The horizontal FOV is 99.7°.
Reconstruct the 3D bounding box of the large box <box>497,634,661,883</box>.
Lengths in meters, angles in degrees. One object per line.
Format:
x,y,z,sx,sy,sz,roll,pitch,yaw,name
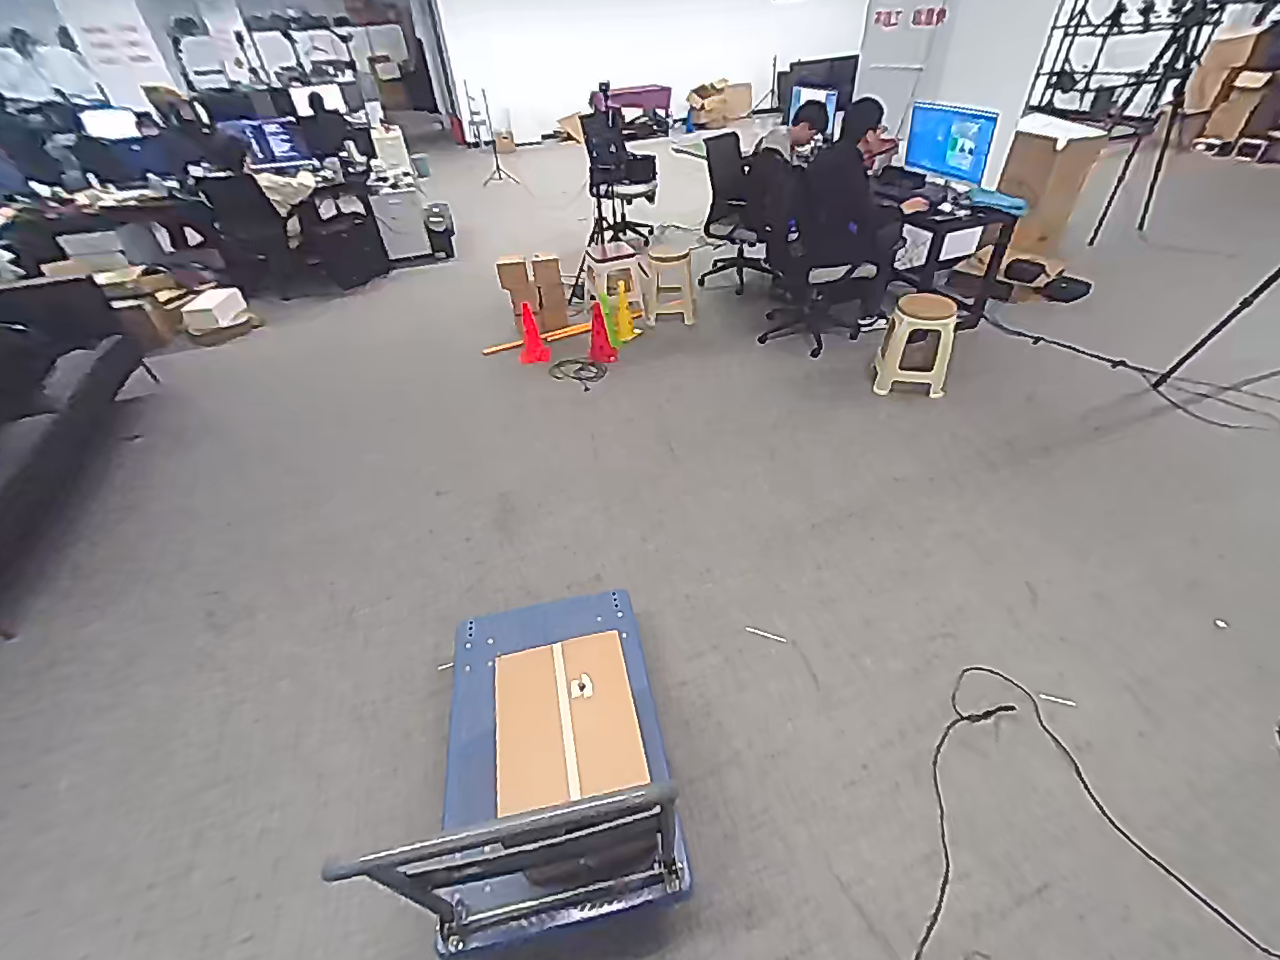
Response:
-0.151,0.654,1.298,0.320,0.320,0.408,-10,40,-8,large box
